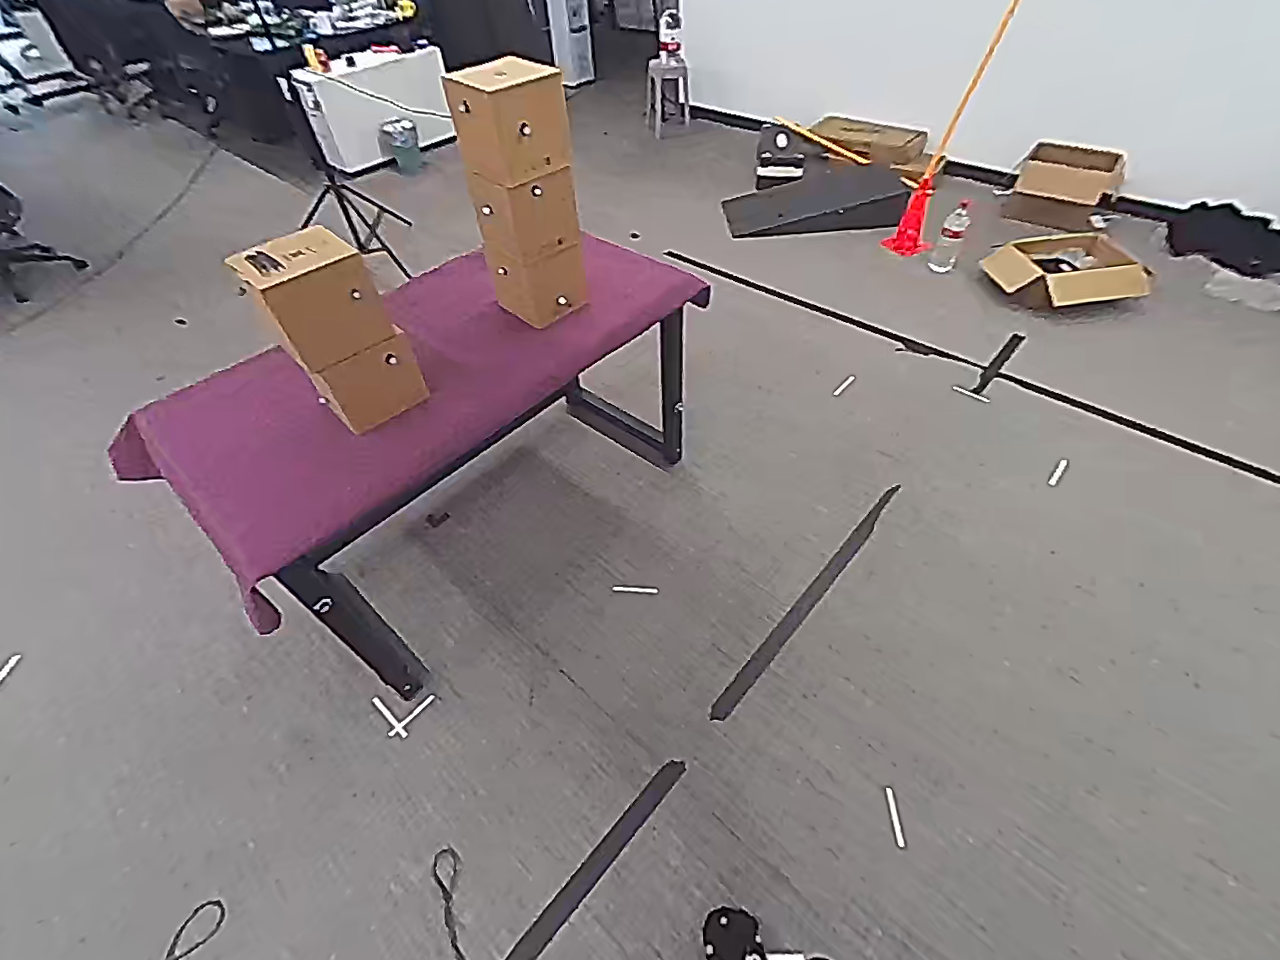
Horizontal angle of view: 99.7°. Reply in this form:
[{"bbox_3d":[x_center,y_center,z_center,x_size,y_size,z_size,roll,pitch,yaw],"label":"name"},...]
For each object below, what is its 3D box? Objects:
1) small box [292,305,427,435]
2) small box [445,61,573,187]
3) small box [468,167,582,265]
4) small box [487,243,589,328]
[{"bbox_3d":[-0.569,-0.228,1.126,0.179,0.176,0.168,-38,56,-25],"label":"small box"},{"bbox_3d":[-0.256,-0.714,1.092,0.168,0.176,0.179,-37,56,-24],"label":"small box"},{"bbox_3d":[-0.253,-0.611,1.219,0.168,0.176,0.179,-36,56,-24],"label":"small box"},{"bbox_3d":[-0.249,-0.506,1.345,0.168,0.176,0.179,-38,58,-25],"label":"small box"}]
